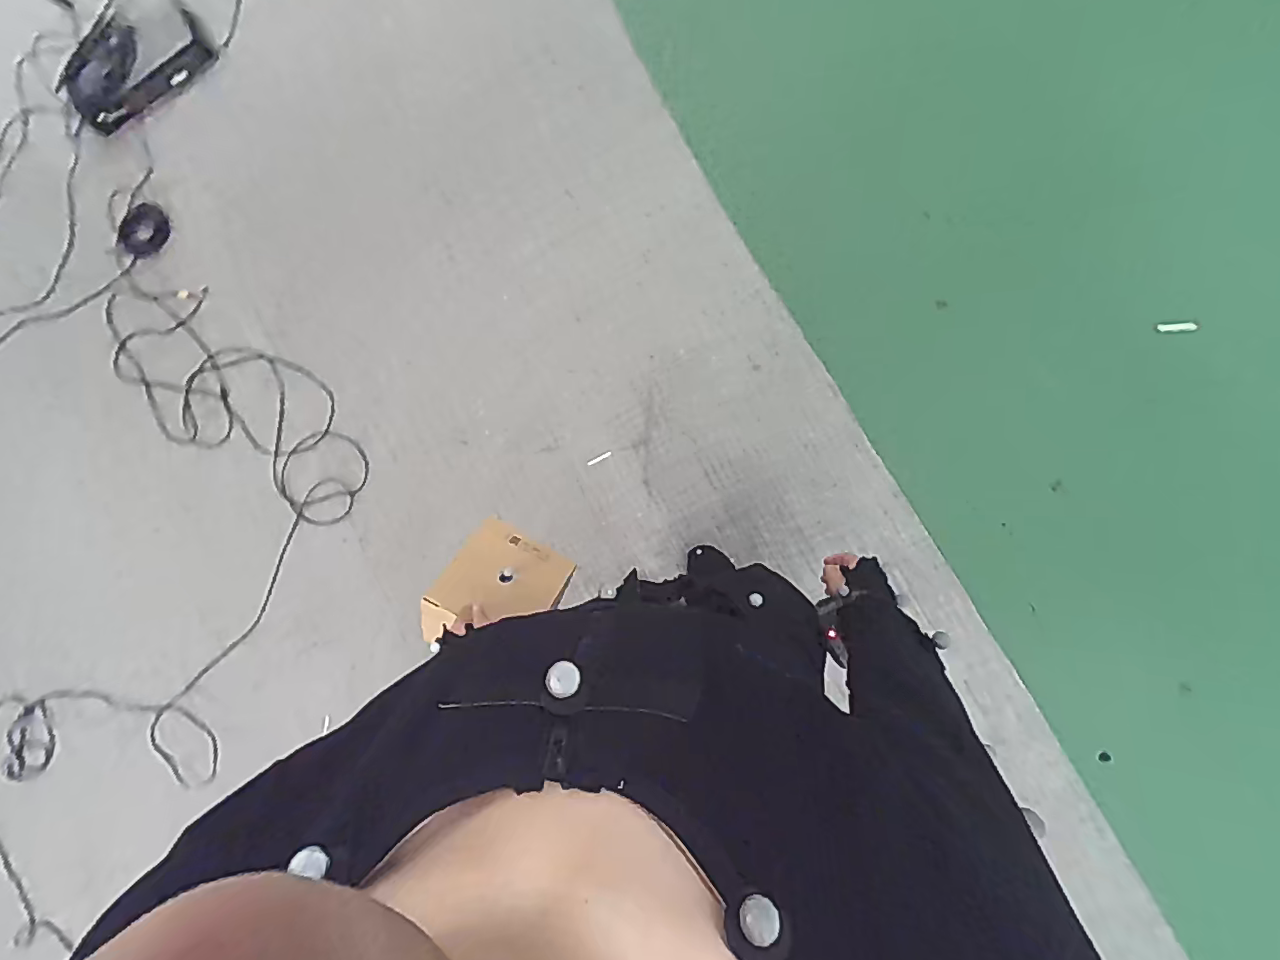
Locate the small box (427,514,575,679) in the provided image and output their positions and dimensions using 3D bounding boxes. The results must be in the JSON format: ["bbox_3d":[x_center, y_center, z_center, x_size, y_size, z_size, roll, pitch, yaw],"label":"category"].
[{"bbox_3d":[-0.222,0.186,0.876,0.168,0.179,0.176,28,50,1],"label":"small box"}]
